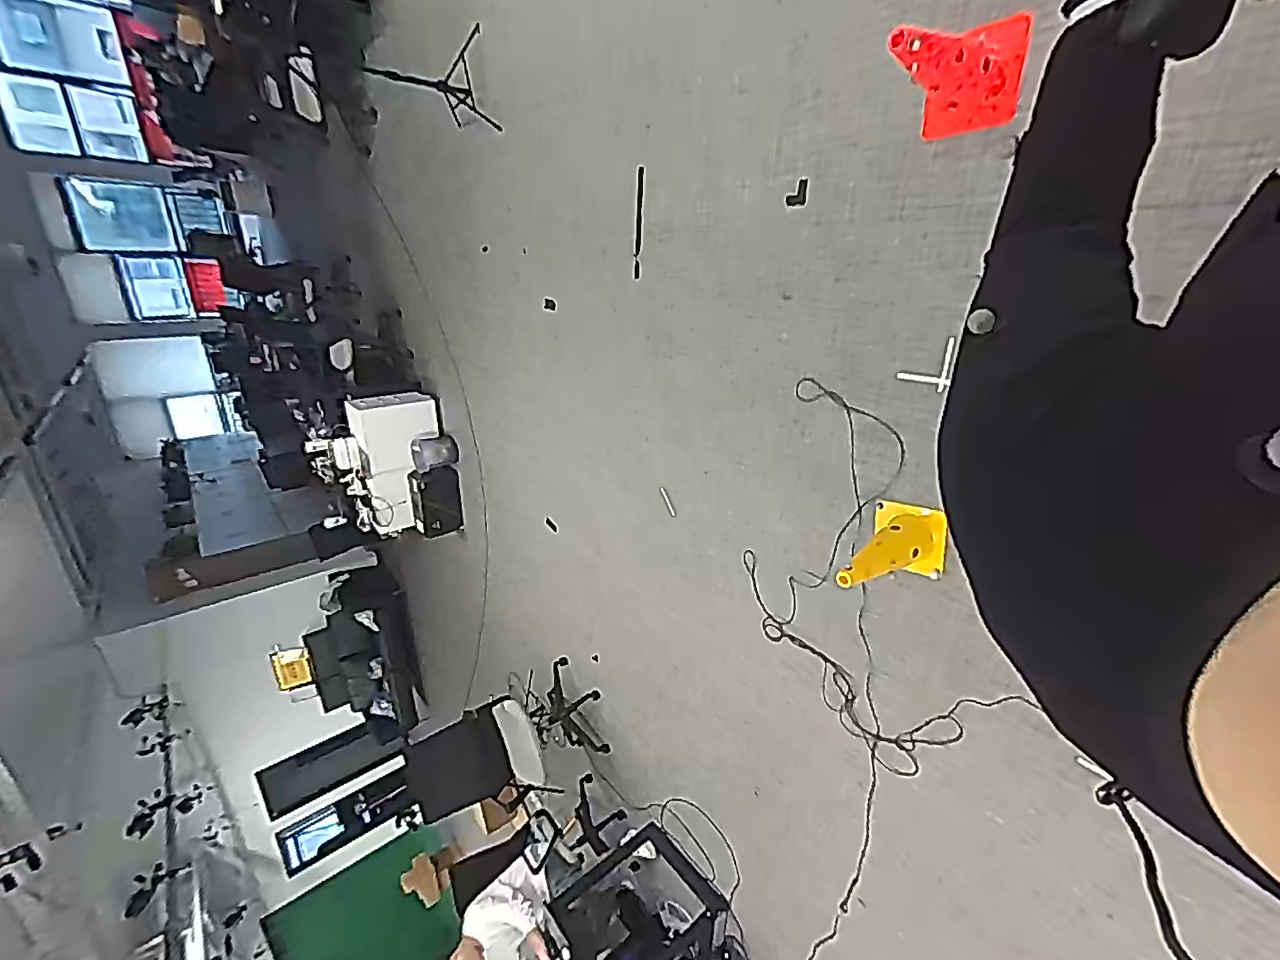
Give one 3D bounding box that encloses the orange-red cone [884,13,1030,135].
[{"bbox_3d":[0.608,-0.854,1.104,0.198,0.360,0.199,23,122,47],"label":"orange-red cone"}]
